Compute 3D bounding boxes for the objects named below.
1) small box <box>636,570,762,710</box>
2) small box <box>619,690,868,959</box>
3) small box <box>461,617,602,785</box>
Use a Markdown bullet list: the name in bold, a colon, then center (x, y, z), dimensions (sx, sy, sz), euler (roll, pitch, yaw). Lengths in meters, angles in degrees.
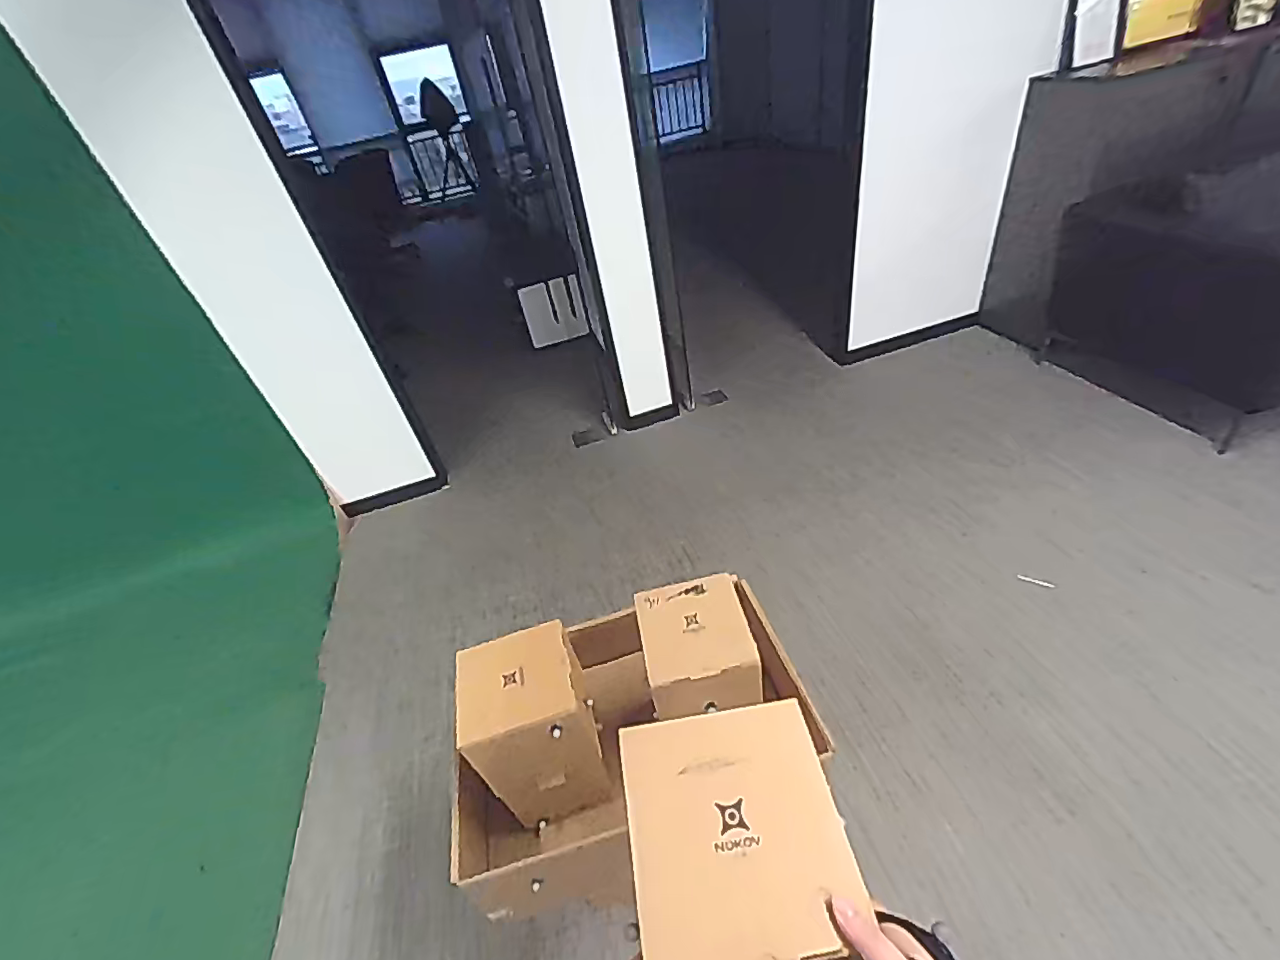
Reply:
- **small box**: center (0.098, 0.282, 0.888), dimensions (0.168, 0.176, 0.179), euler (-13, 40, 0)
- **small box**: center (0.077, 0.320, 0.485), dimensions (0.168, 0.176, 0.179), euler (-8, 42, -2)
- **small box**: center (-0.174, 0.359, 0.876), dimensions (0.179, 0.176, 0.168), euler (-17, 39, -6)
